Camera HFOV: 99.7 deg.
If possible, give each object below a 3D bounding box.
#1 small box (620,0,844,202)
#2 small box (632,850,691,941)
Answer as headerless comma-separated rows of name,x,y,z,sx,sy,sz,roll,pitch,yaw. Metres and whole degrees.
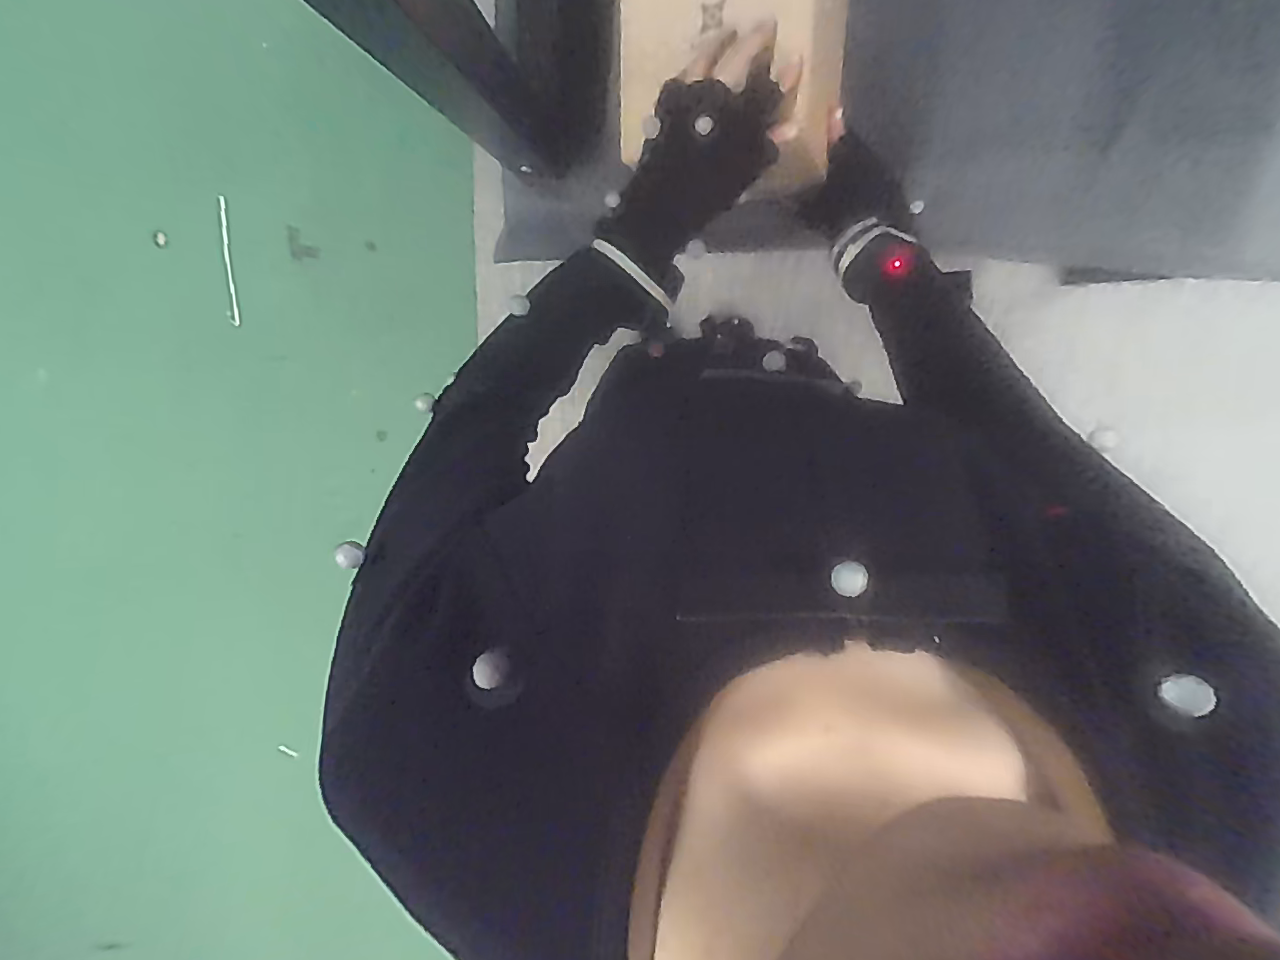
small box,0.092,-0.380,0.506,0.168,0.176,0.179,8,106,24
small box,0.075,1.421,1.858,0.168,0.176,0.179,13,108,1
